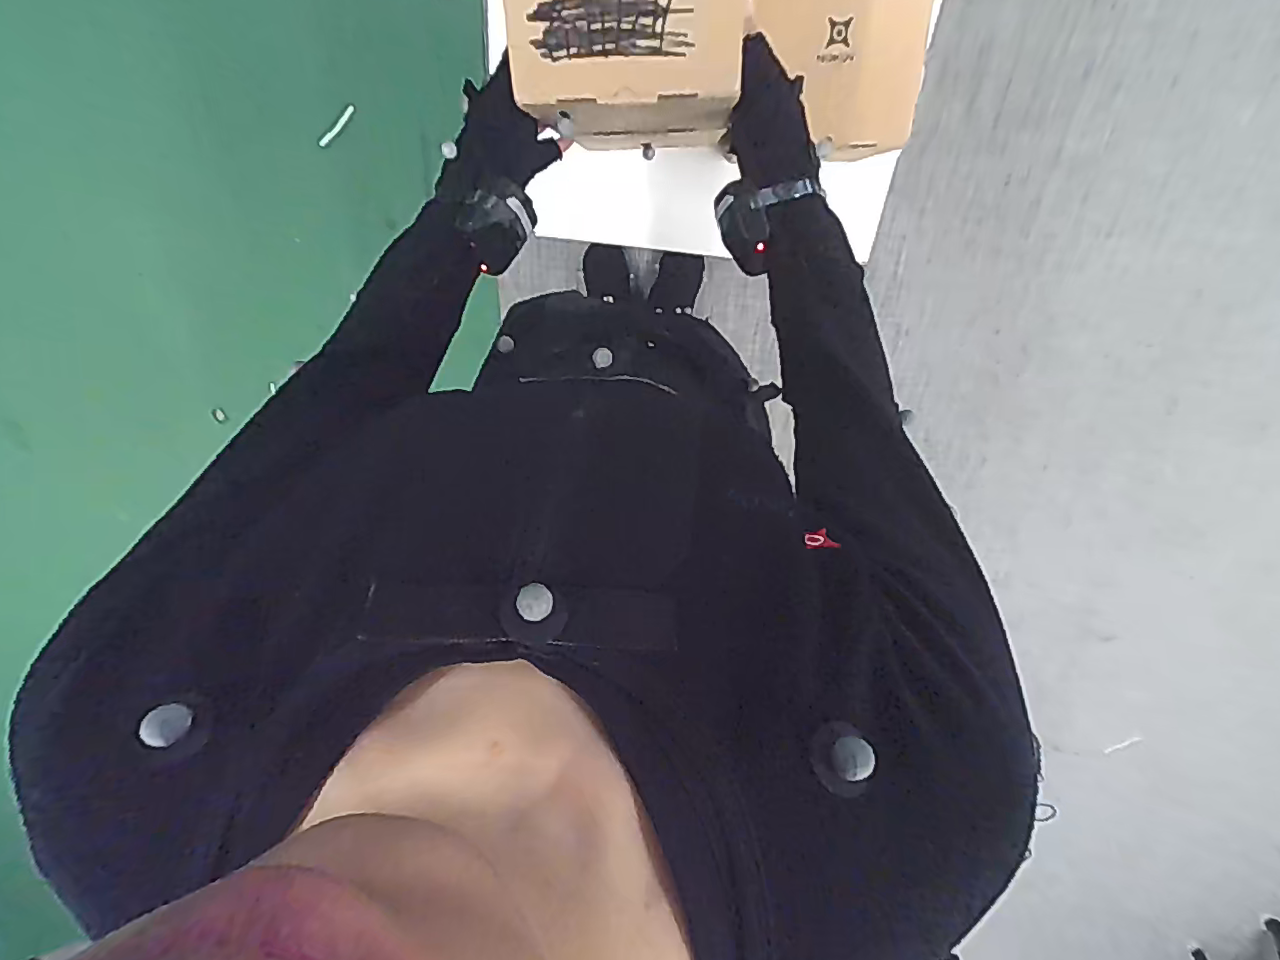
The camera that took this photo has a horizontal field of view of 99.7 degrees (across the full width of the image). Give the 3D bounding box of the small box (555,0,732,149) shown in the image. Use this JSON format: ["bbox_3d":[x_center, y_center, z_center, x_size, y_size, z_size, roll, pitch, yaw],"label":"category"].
[{"bbox_3d":[0.006,-0.462,0.571,0.168,0.176,0.179,0,117,4],"label":"small box"}]
